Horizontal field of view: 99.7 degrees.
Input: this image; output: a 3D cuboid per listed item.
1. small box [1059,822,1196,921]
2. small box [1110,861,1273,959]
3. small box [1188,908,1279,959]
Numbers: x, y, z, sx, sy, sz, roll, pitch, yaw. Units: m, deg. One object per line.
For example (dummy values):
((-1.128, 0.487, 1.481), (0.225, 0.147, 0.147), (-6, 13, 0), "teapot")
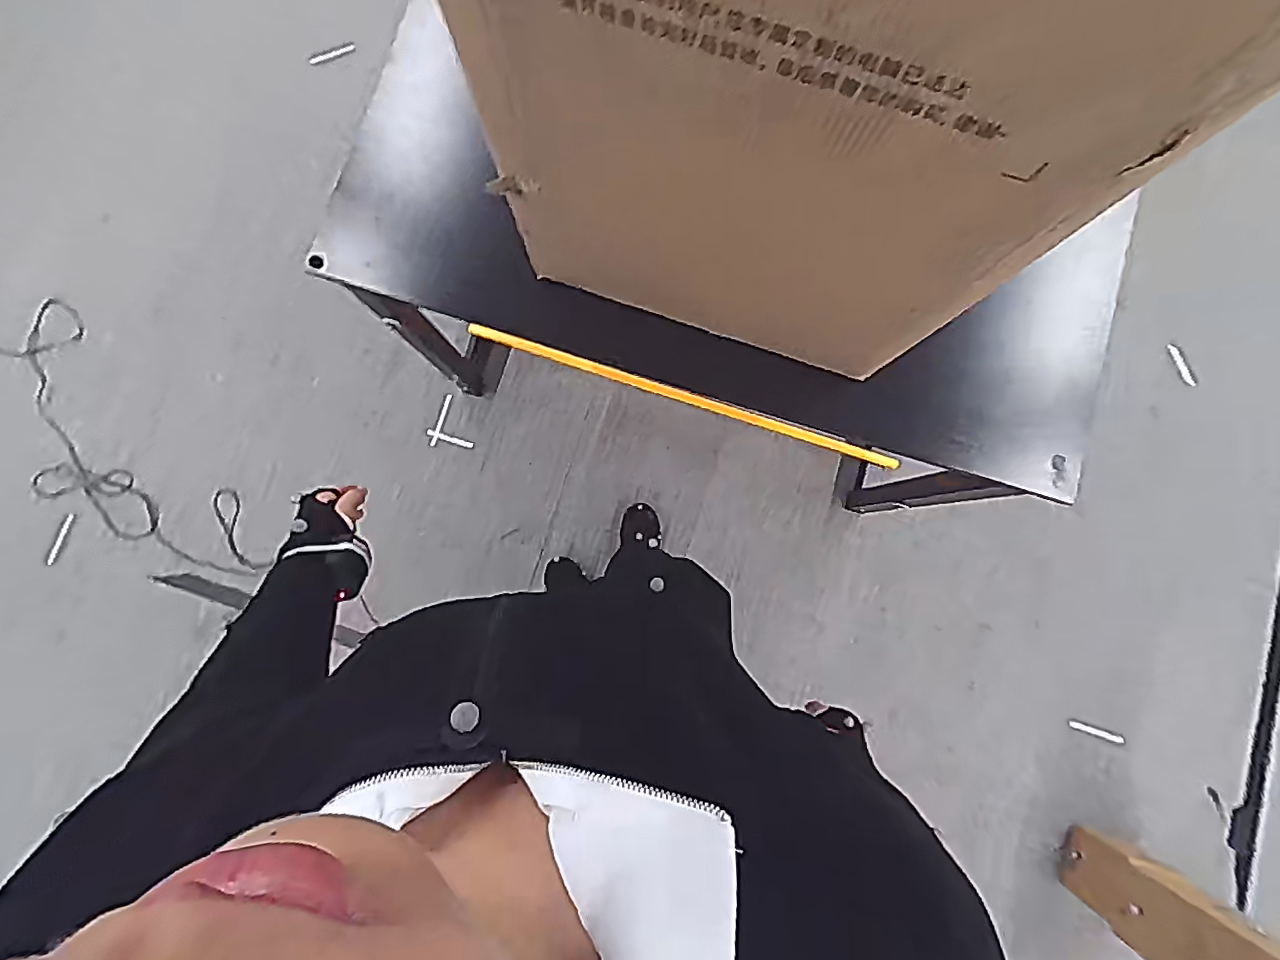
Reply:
((1.216, 1.002, 1.358), (0.179, 0.176, 0.168), (18, 83, 2), "small box")
((1.209, 0.988, 1.193), (0.179, 0.176, 0.168), (18, 83, 1), "small box")
((1.210, 0.969, 1.031), (0.179, 0.176, 0.168), (19, 83, 1), "small box")
